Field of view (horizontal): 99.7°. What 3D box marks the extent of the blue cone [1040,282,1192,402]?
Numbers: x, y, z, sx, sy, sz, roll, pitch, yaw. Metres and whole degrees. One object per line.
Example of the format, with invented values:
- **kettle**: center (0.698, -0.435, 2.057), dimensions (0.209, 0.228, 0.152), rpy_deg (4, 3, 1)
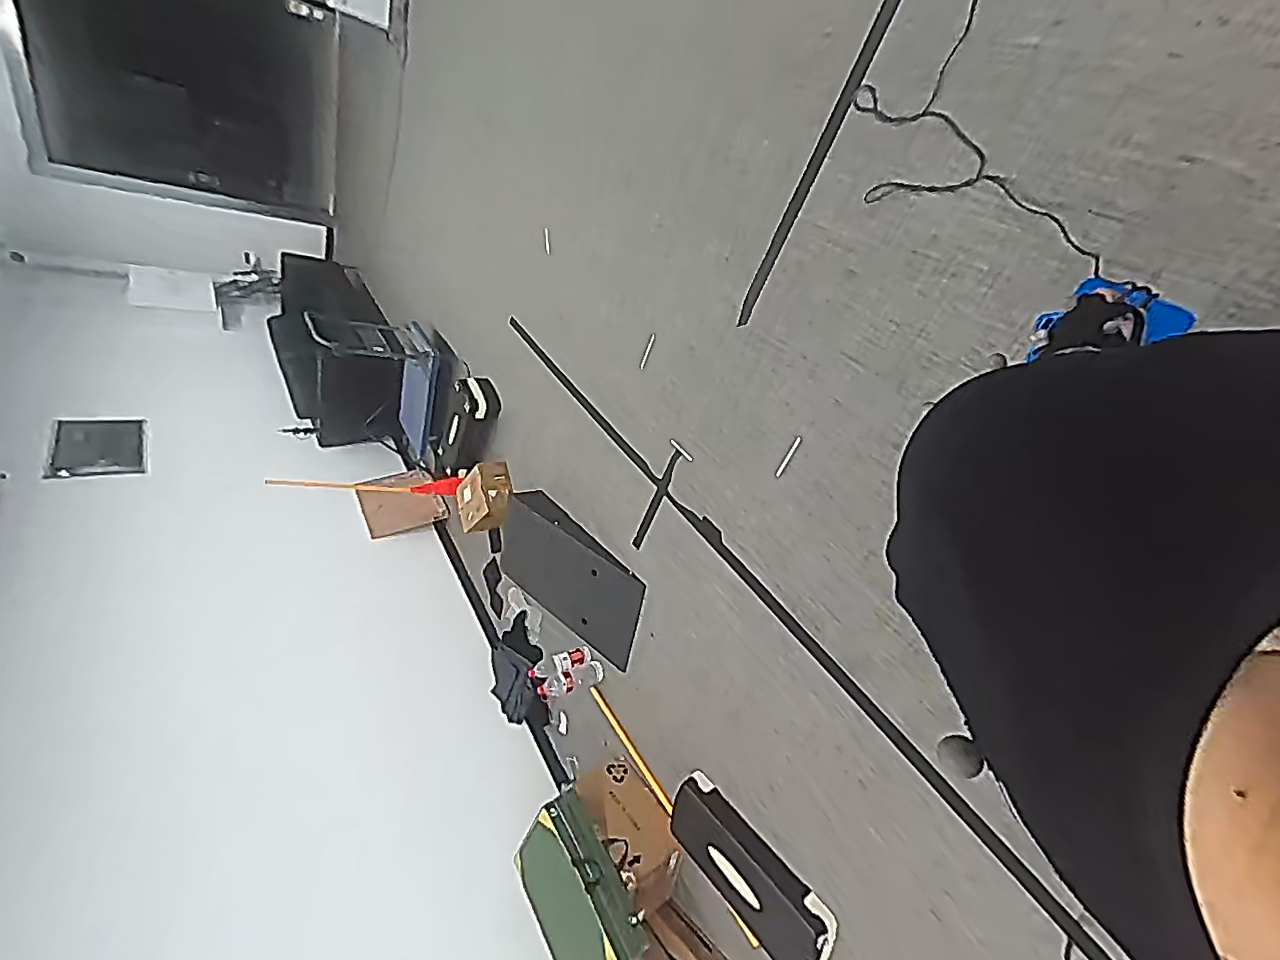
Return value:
- **blue cone**: center (0.800, -0.260, 0.966), dimensions (0.192, 0.380, 0.193), rpy_deg (49, 131, 35)
